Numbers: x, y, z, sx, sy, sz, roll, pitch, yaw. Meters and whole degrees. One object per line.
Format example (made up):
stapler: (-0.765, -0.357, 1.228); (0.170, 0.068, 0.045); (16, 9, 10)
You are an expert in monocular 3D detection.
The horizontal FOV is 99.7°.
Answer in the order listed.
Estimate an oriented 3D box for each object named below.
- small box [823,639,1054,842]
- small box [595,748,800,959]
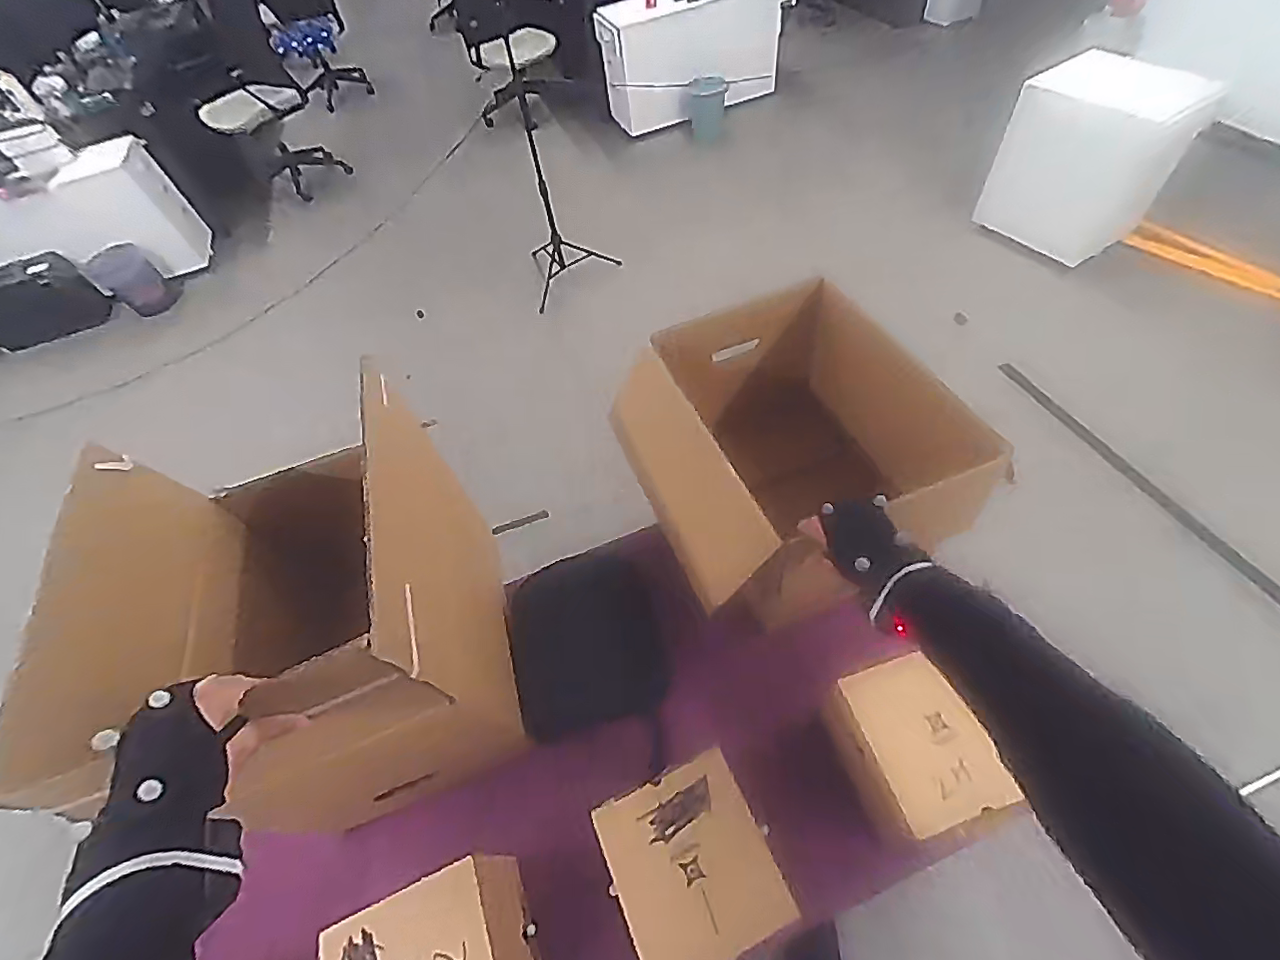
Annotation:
small box: (0.350, 0.331, 0.681); (0.168, 0.176, 0.179); (-18, 54, -3)
small box: (0.063, 0.453, 0.640); (0.168, 0.176, 0.179); (-24, 56, -8)
